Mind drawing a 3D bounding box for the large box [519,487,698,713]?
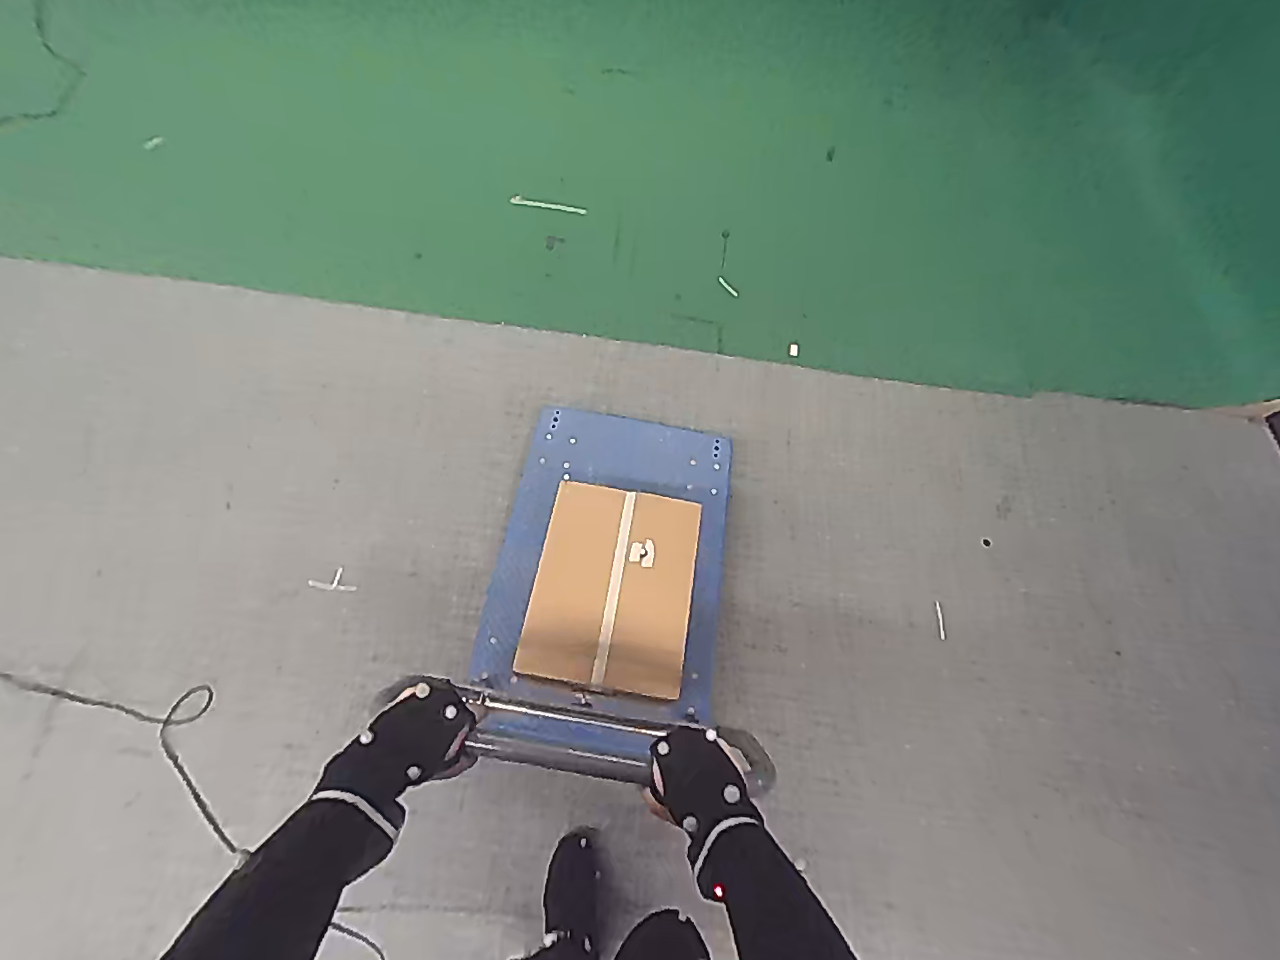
[{"bbox_3d":[-0.060,0.280,1.217,0.320,0.320,0.408,10,62,-1],"label":"large box"}]
